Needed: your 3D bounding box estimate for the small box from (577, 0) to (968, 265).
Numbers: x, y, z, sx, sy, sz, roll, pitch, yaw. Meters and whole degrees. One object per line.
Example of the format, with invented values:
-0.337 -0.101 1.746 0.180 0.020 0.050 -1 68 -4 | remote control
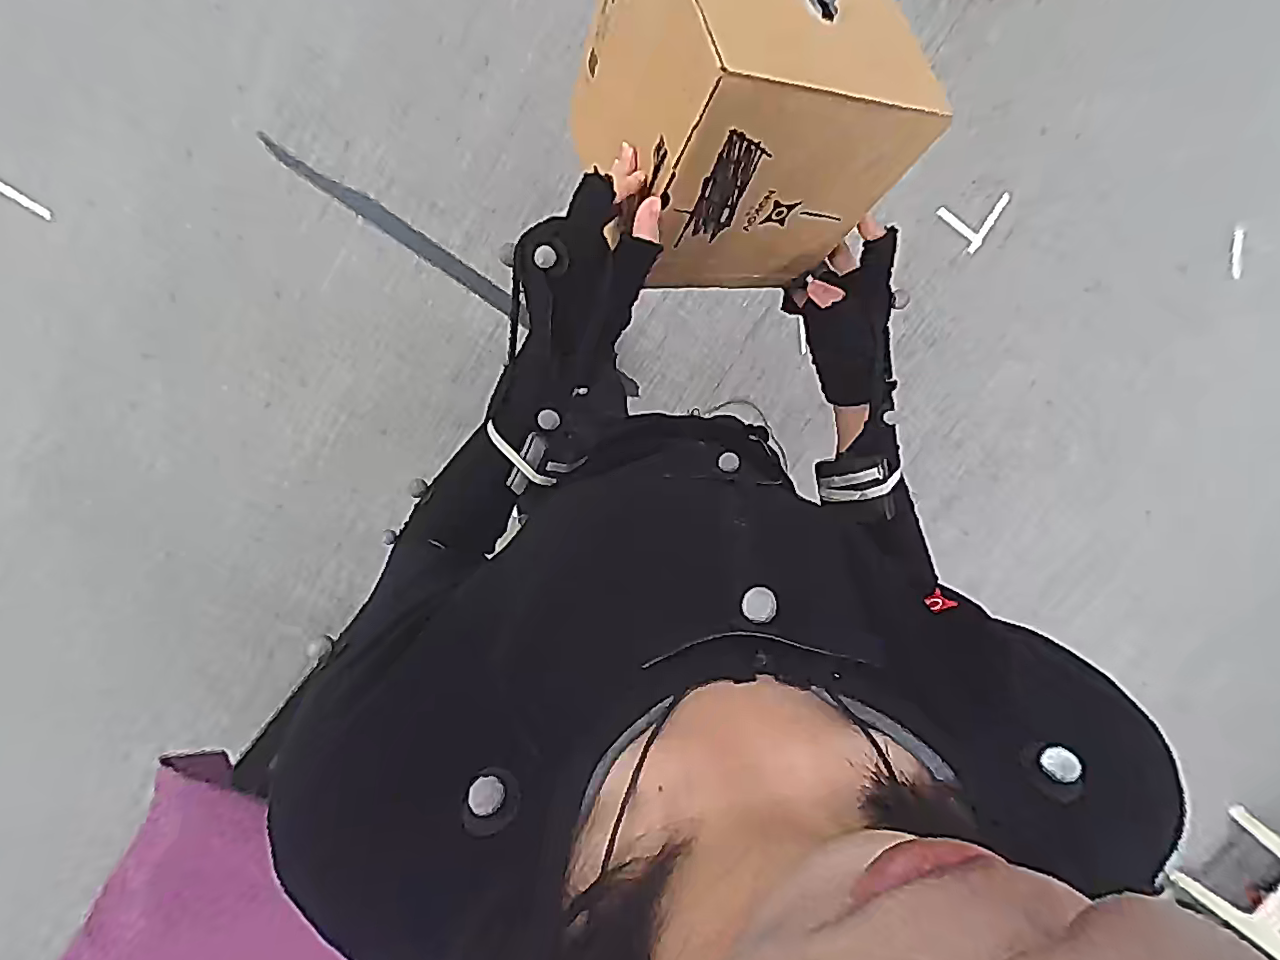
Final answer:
0.069 -0.276 0.374 0.179 0.168 0.176 -9 74 -24 | small box
